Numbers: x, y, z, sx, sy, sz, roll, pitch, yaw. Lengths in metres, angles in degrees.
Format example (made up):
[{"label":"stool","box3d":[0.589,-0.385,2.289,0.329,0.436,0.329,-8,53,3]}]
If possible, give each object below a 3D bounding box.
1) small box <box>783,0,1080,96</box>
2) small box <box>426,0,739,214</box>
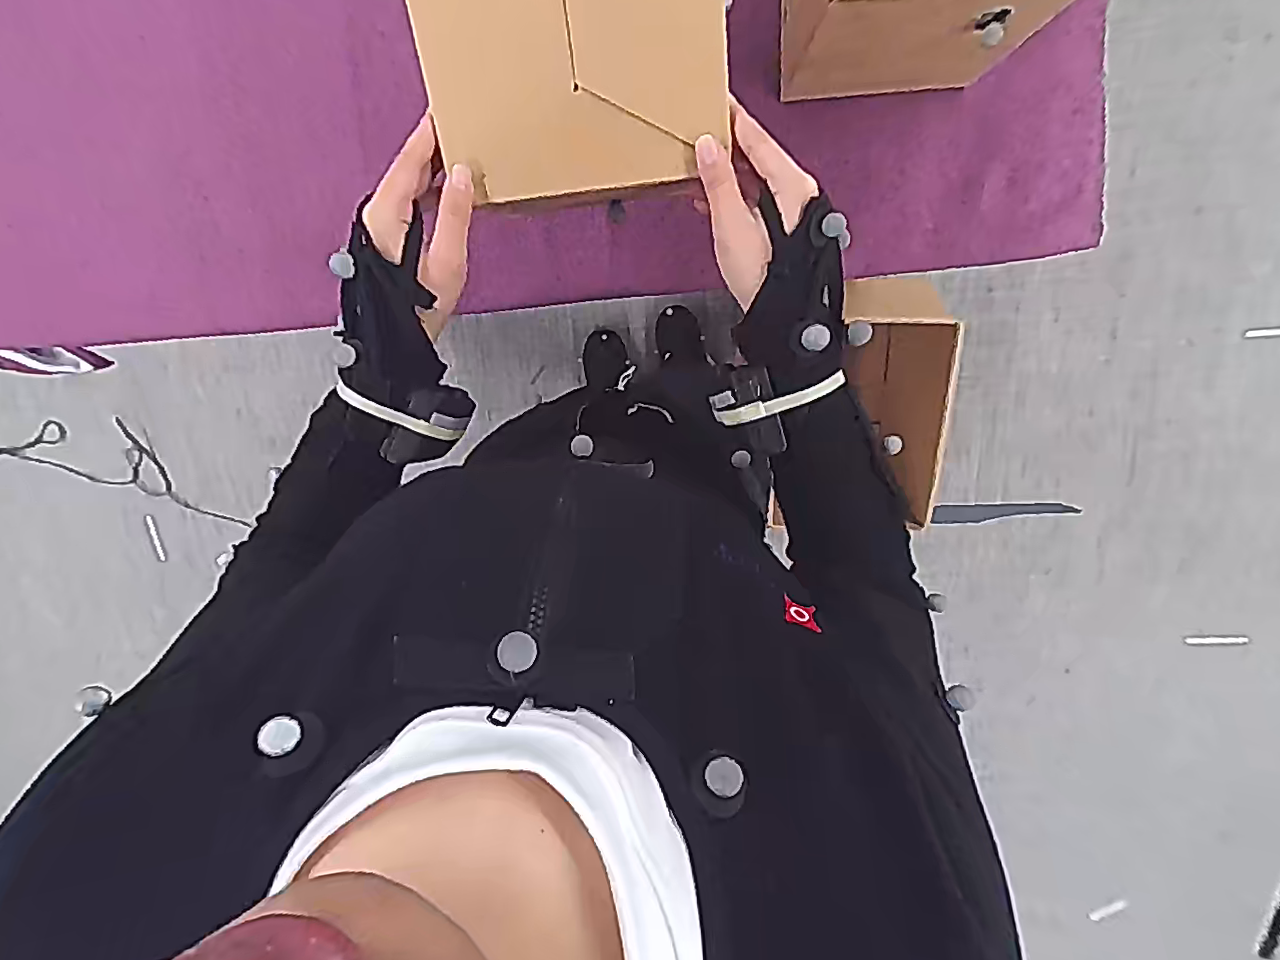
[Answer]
[{"label":"small box","box3d":[0.216,-0.421,0.410,0.179,0.176,0.168,-2,105,4]},{"label":"small box","box3d":[-0.035,-0.290,0.372,0.179,0.176,0.168,-5,113,4]}]
